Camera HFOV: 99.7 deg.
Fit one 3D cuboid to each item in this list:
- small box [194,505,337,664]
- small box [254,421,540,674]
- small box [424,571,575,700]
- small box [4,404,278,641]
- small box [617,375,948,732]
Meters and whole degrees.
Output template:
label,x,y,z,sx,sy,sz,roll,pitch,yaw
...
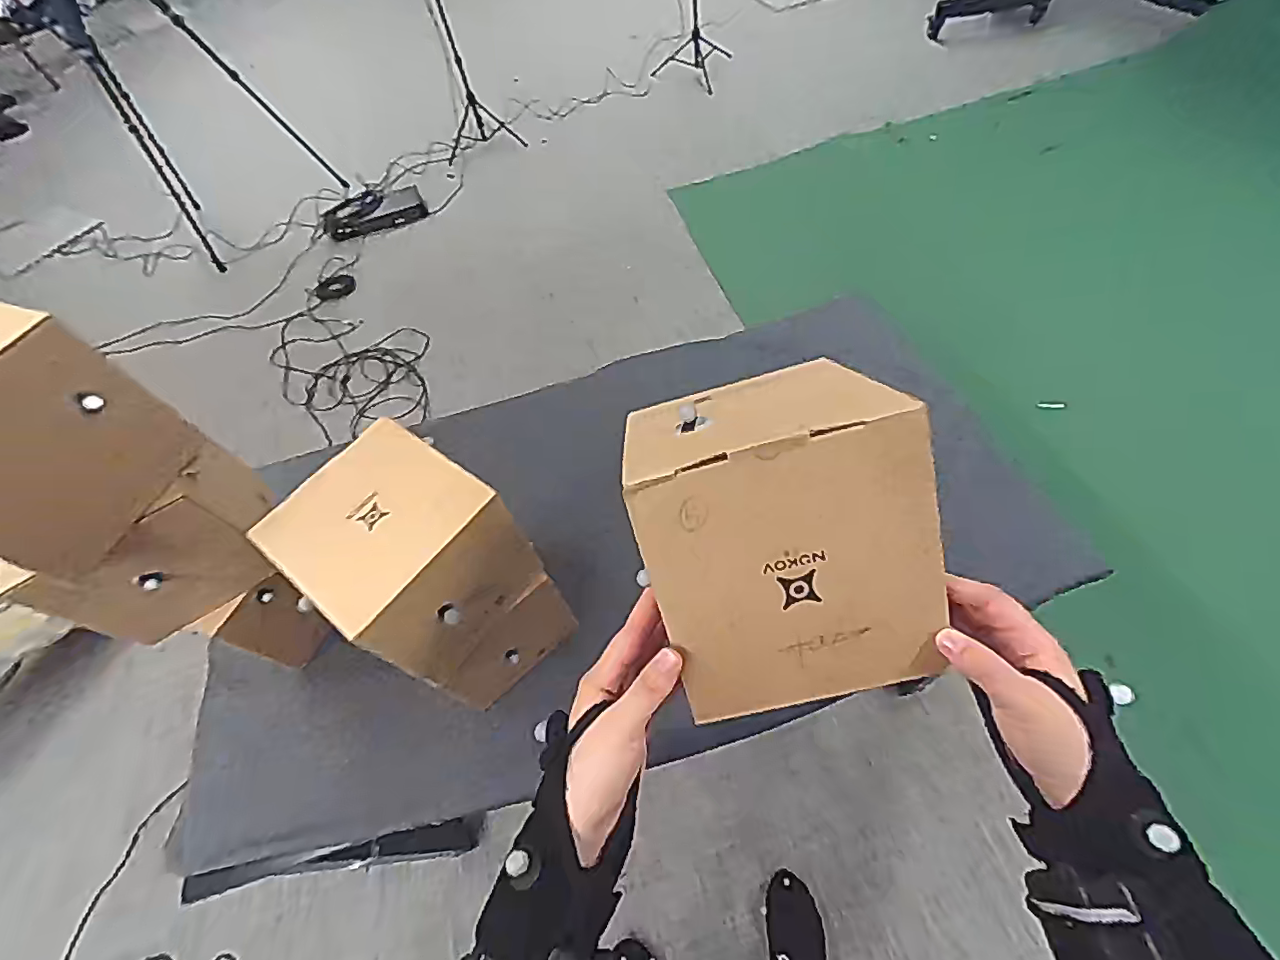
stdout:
label,x,y,z,sx,sy,sz,roll,pitch,yaw
small box,-0.528,0.138,0.761,0.179,0.176,0.168,17,61,18
small box,-0.231,0.077,0.558,0.179,0.176,0.168,30,66,25
small box,-0.207,0.158,0.697,0.168,0.176,0.179,-39,59,-17
small box,-0.547,0.053,0.620,0.179,0.176,0.168,-34,60,-13
small box,0.086,0.034,0.380,0.168,0.179,0.176,-15,22,7
